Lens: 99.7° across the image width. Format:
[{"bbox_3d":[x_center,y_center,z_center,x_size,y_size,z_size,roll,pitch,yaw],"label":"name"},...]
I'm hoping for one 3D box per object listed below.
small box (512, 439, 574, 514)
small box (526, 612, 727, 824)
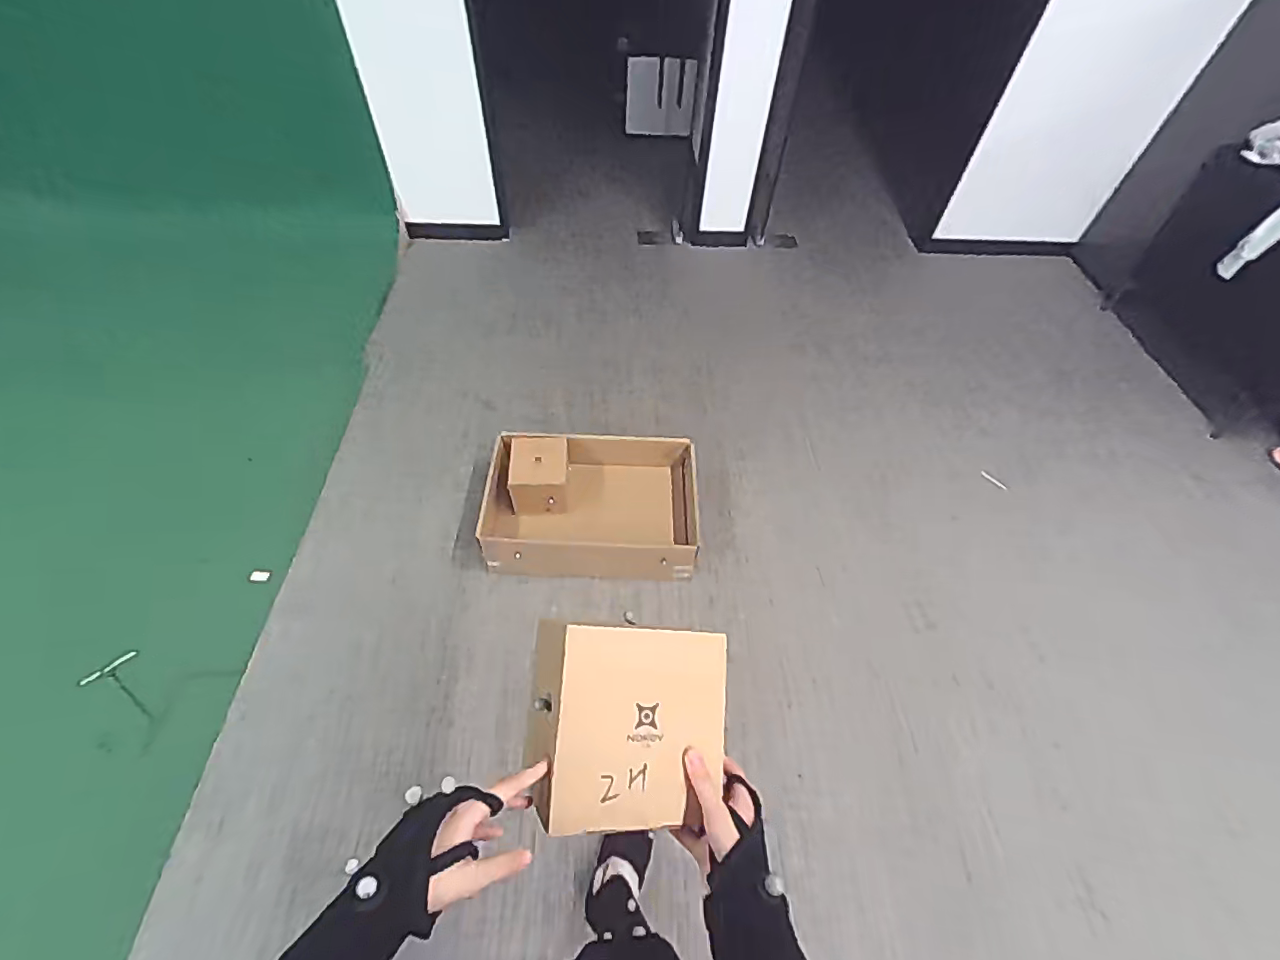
[{"bbox_3d":[-0.290,-0.008,1.658,0.168,0.176,0.179,0,54,-3],"label":"small box"},{"bbox_3d":[-0.022,0.234,0.572,0.168,0.176,0.179,9,76,-17],"label":"small box"}]
